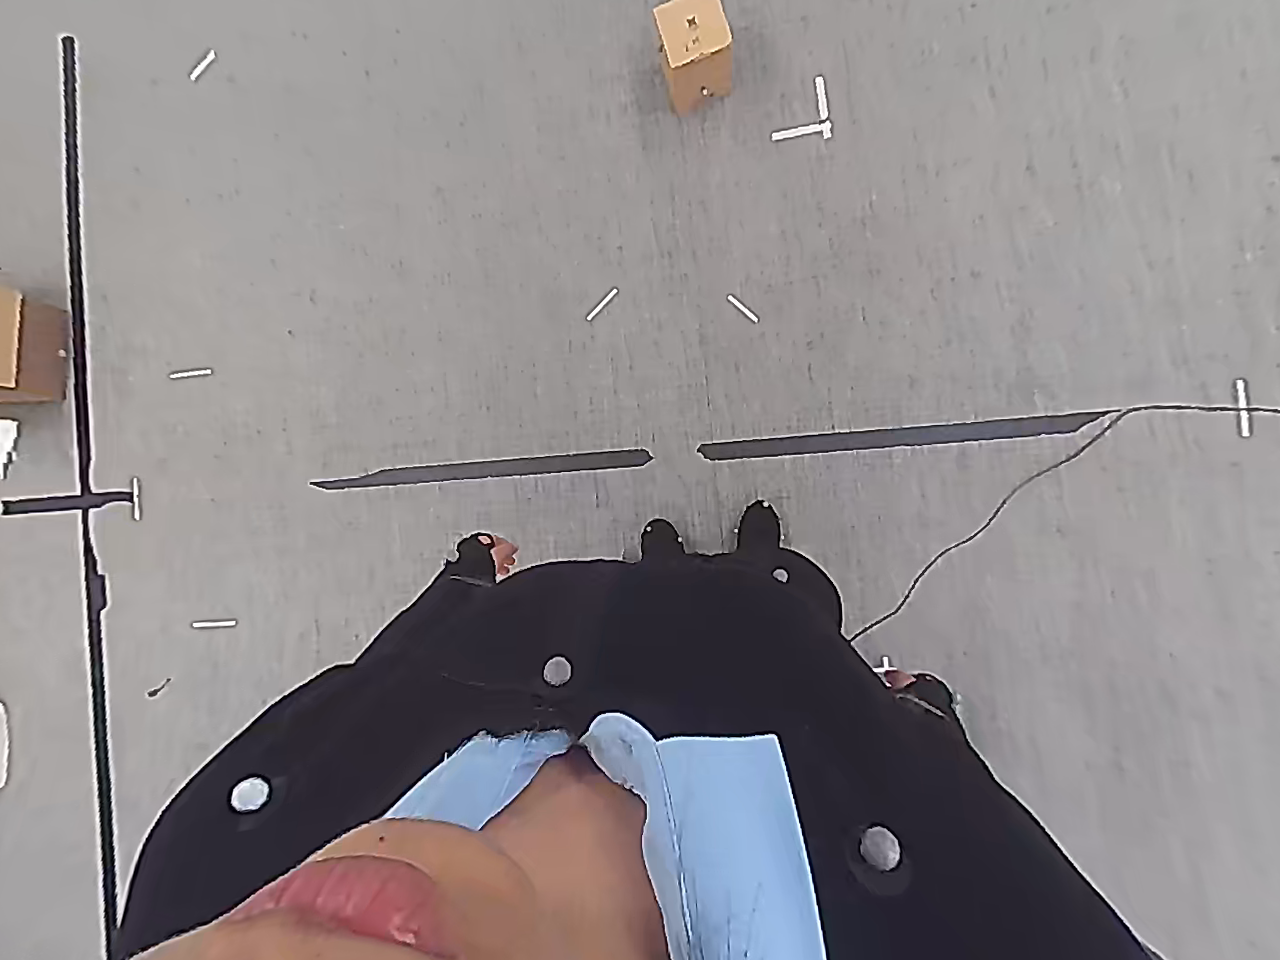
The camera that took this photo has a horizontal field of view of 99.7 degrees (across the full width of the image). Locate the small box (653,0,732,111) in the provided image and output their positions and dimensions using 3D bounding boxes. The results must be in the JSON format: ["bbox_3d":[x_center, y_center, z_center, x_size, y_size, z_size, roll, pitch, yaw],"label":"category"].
[{"bbox_3d":[0.142,-1.144,1.443,0.168,0.176,0.179,-17,86,8],"label":"small box"}]
